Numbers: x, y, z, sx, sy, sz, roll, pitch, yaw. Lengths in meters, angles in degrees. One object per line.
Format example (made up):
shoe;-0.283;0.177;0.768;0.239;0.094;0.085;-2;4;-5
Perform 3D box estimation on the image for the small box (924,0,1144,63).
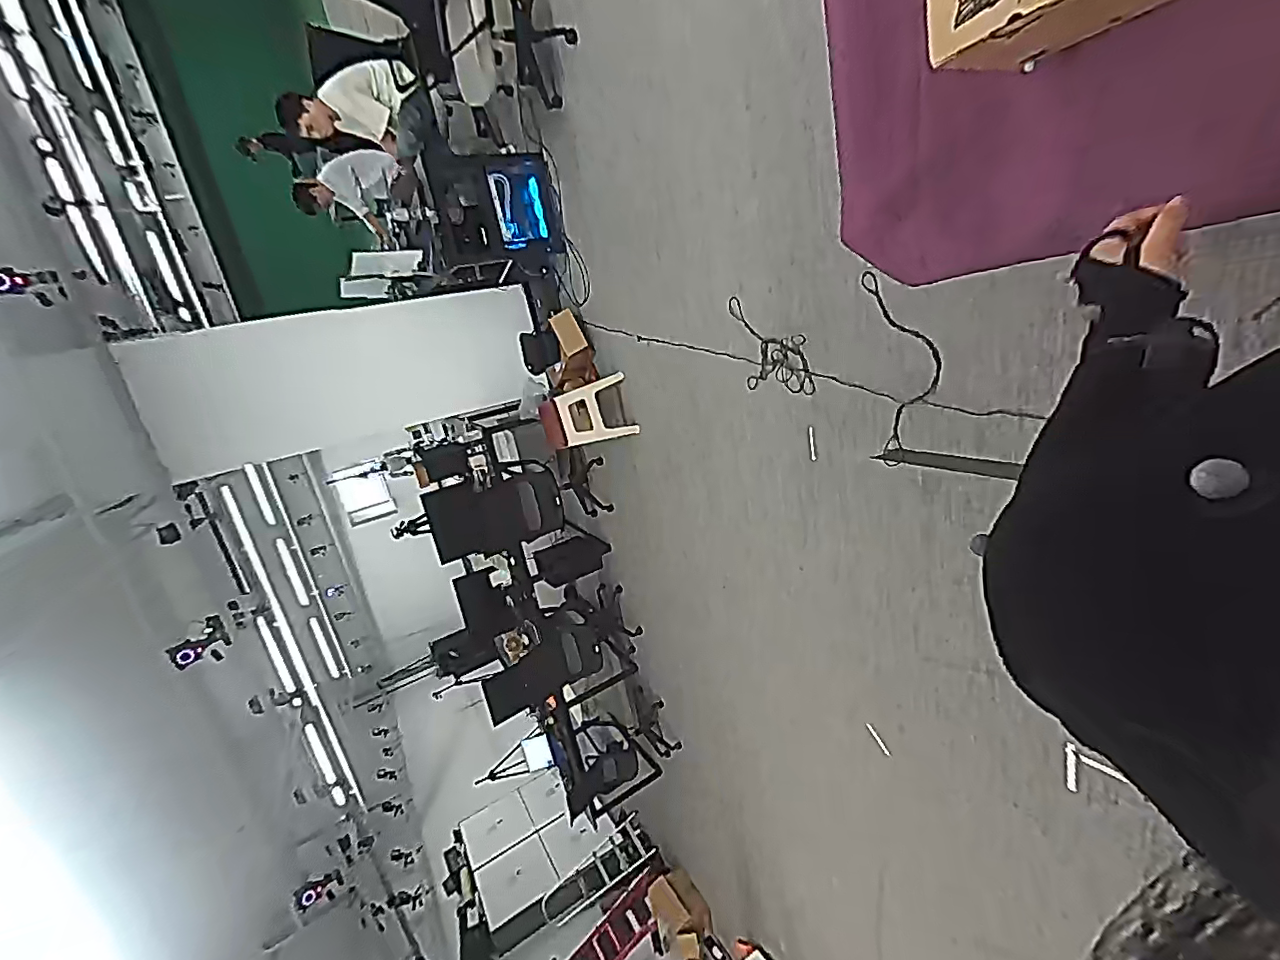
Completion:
small box;0.395;-0.533;0.510;0.168;0.176;0.179;17;122;58
